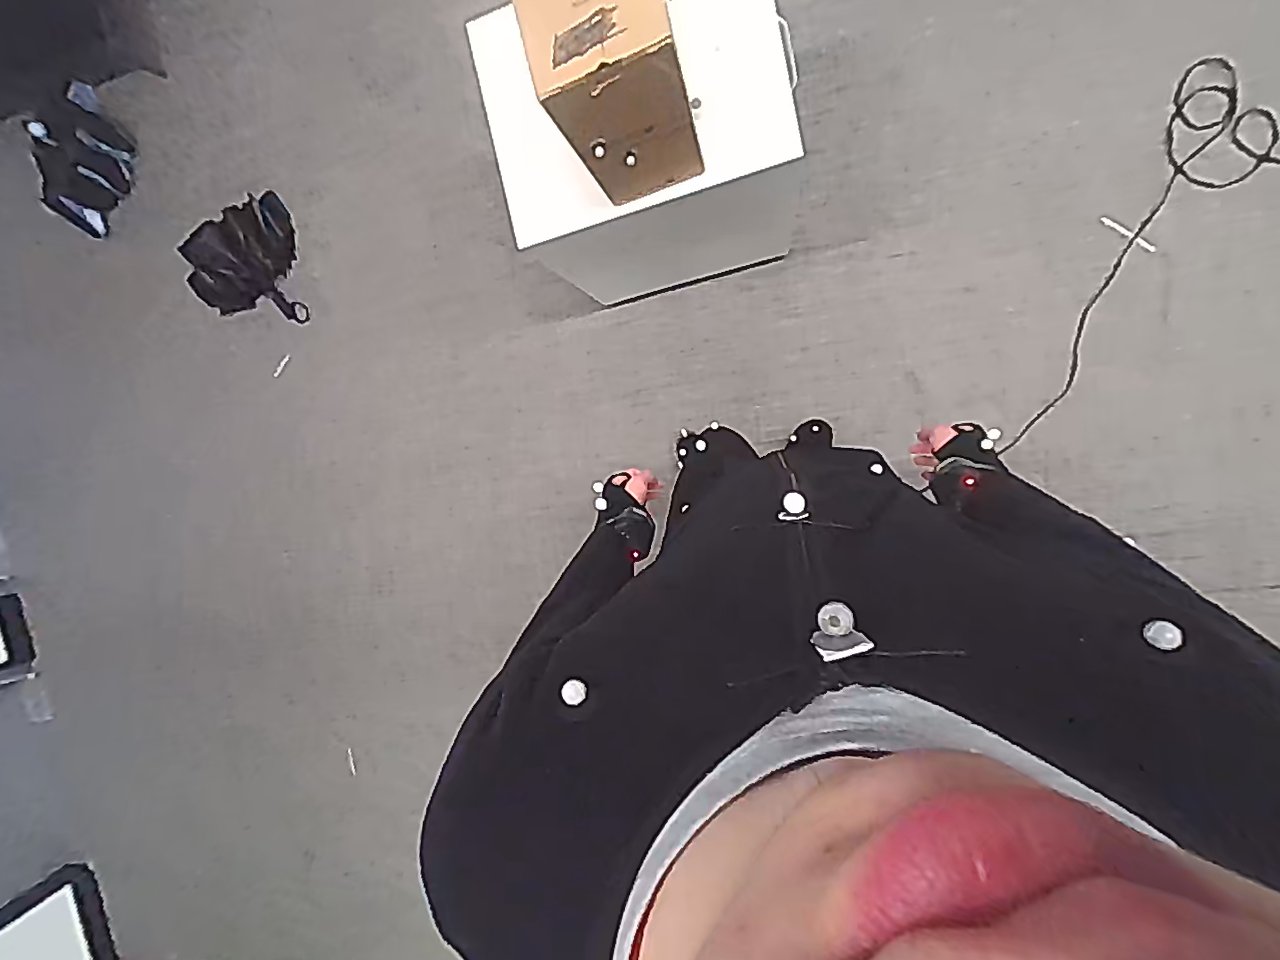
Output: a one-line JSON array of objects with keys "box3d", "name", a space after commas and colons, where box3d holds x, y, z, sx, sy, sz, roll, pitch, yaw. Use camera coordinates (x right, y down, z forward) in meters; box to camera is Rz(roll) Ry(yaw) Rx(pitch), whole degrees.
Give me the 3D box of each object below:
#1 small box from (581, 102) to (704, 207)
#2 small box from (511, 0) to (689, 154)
[{"box3d": [-0.007, -0.560, 0.830, 0.168, 0.176, 0.179, -15, 92, 15], "name": "small box"}, {"box3d": [-0.044, -0.541, 0.670, 0.168, 0.176, 0.179, -14, 92, 14], "name": "small box"}]
